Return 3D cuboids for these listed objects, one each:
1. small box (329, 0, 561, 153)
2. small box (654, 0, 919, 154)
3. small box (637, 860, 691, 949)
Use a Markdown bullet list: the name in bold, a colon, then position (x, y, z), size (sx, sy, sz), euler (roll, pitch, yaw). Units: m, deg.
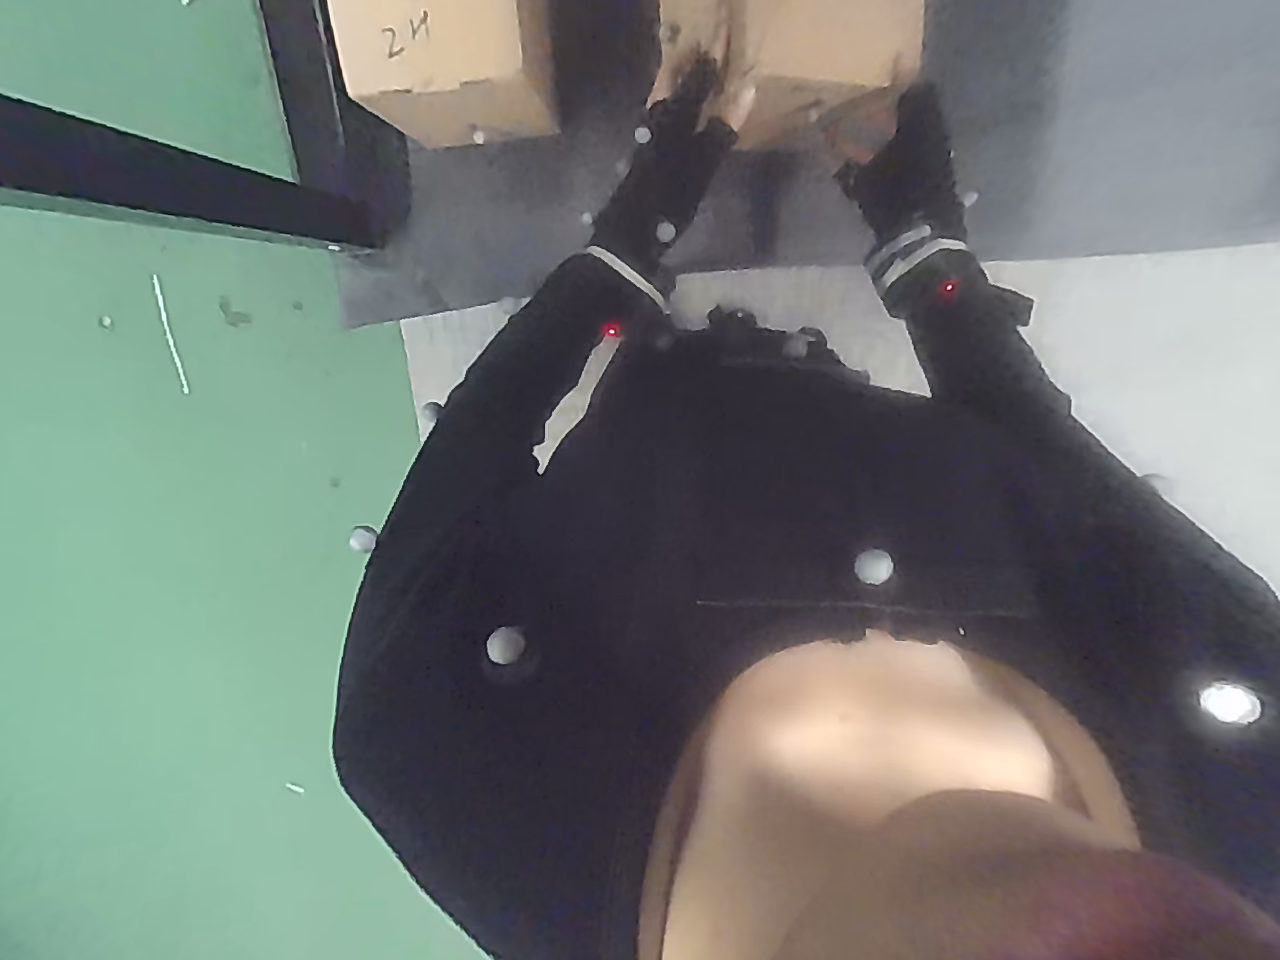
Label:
- **small box**: position (-0.182, -0.450, 0.532), size (0.168, 0.176, 0.179), euler (-3, 107, 6)
- **small box**: position (0.121, -0.414, 0.475), size (0.168, 0.176, 0.179), euler (-9, 105, -20)
- **small box**: position (0.083, 1.467, 1.877), size (0.168, 0.176, 0.179), euler (6, 108, 3)
